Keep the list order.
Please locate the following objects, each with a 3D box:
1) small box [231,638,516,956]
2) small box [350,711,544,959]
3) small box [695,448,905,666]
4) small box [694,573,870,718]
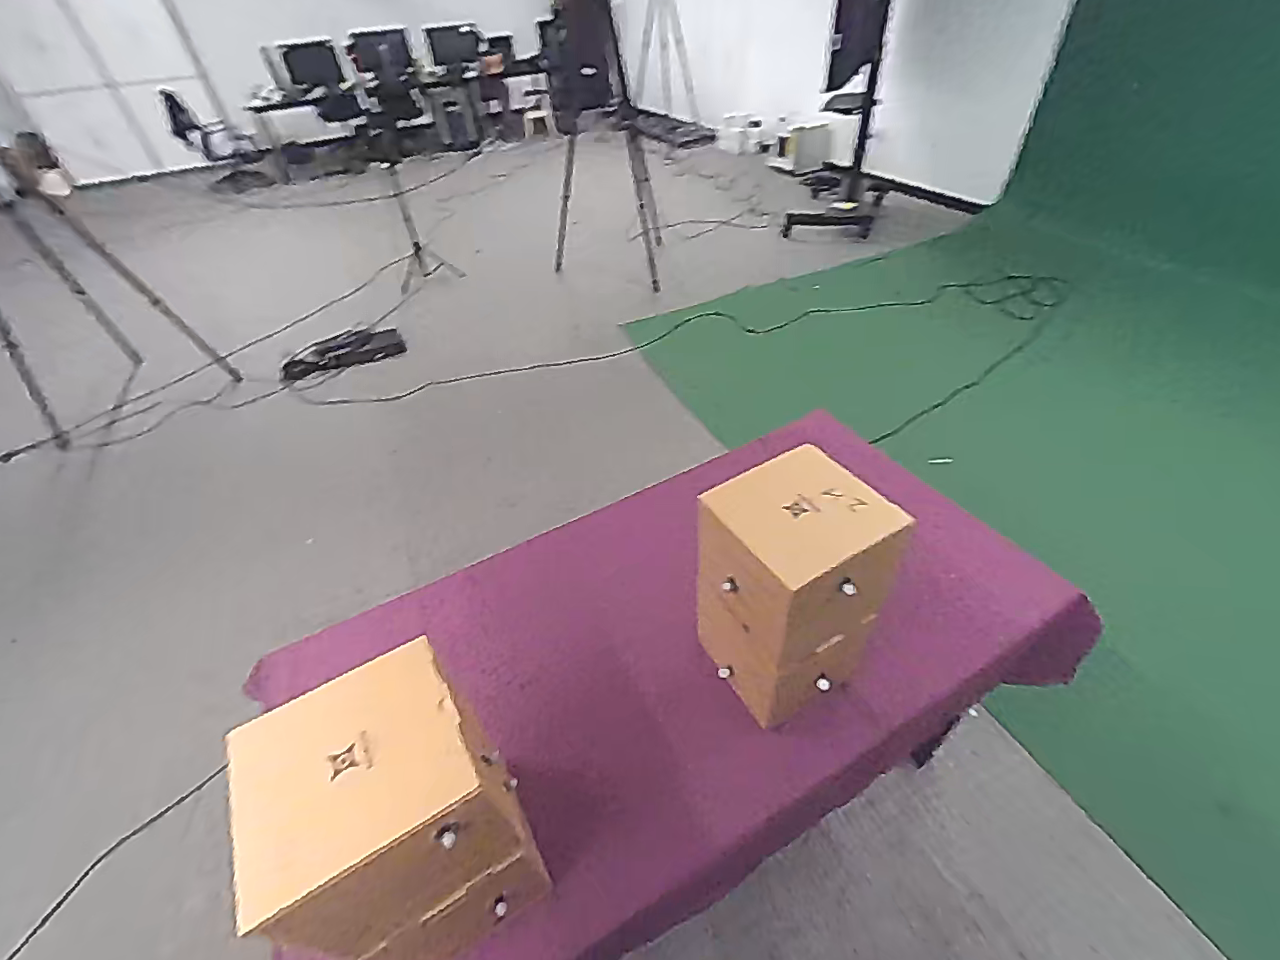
[{"bbox_3d":[-0.238,0.291,0.504,0.179,0.176,0.168,-24,47,-22],"label":"small box"},{"bbox_3d":[-0.224,0.409,0.615,0.168,0.176,0.179,-24,45,-20],"label":"small box"},{"bbox_3d":[0.186,0.095,0.671,0.179,0.176,0.168,-23,46,-19],"label":"small box"},{"bbox_3d":[0.193,0.216,0.784,0.168,0.176,0.179,-23,47,-19],"label":"small box"}]
